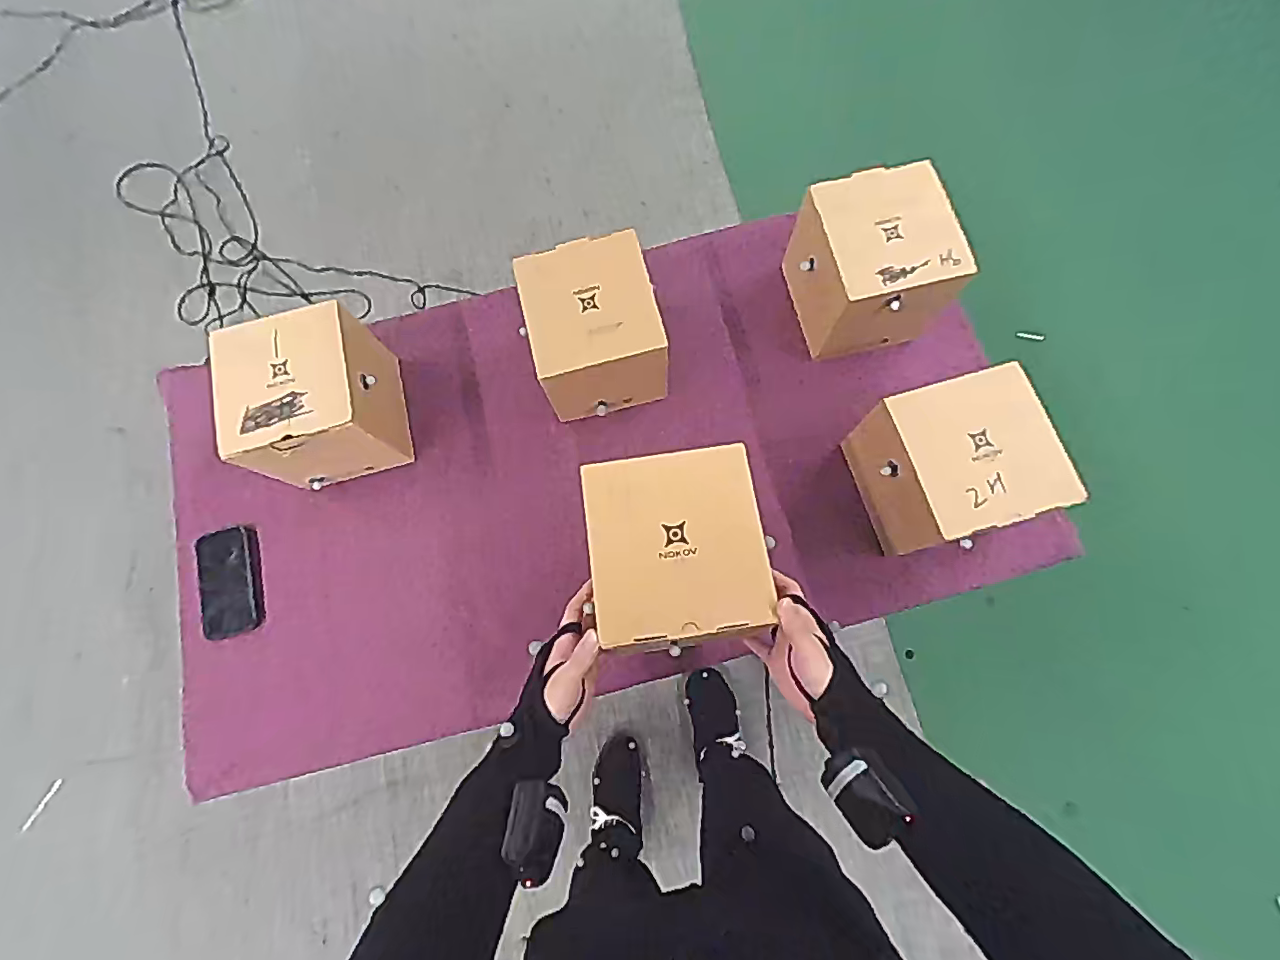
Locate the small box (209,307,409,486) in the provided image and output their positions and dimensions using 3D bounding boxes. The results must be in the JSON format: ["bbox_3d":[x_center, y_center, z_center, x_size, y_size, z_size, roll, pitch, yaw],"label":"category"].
[{"bbox_3d":[-0.439,-0.100,0.740,0.168,0.176,0.179,-16,75,-1],"label":"small box"}]

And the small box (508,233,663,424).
[{"bbox_3d":[-0.068,-0.200,0.750,0.168,0.176,0.179,-15,77,0],"label":"small box"}]

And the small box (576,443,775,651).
[{"bbox_3d":[0.030,0.081,0.581,0.168,0.176,0.179,-9,72,-1],"label":"small box"}]

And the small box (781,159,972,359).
[{"bbox_3d":[0.310,-0.297,0.754,0.168,0.176,0.179,-14,75,0],"label":"small box"}]

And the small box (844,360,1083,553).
[{"bbox_3d":[0.380,-0.019,0.676,0.168,0.176,0.179,-16,76,0],"label":"small box"}]
